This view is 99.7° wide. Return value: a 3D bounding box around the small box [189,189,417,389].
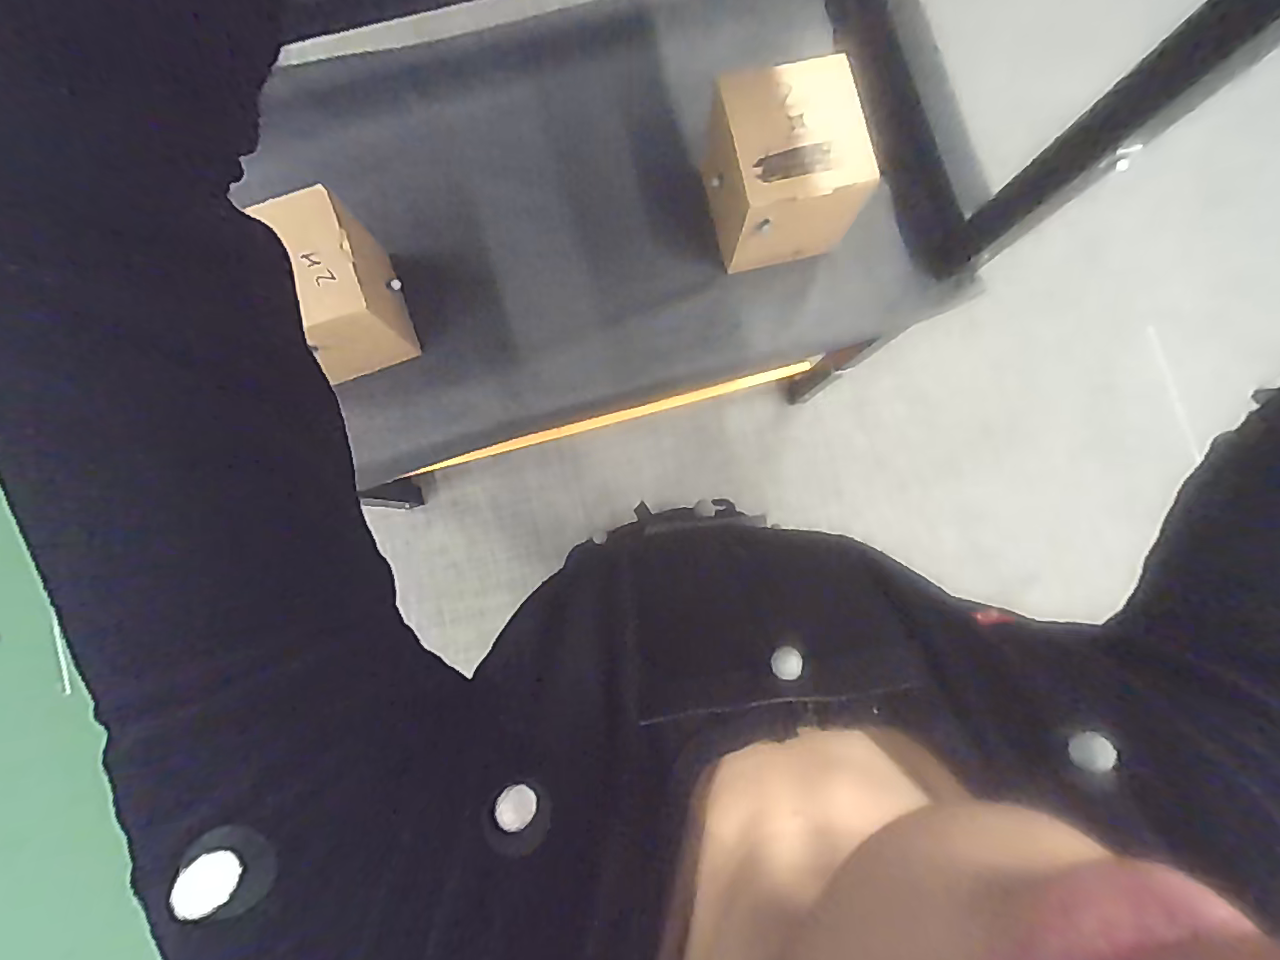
[{"bbox_3d":[-0.430,-0.238,0.717,0.179,0.176,0.168,-20,85,-3],"label":"small box"}]
